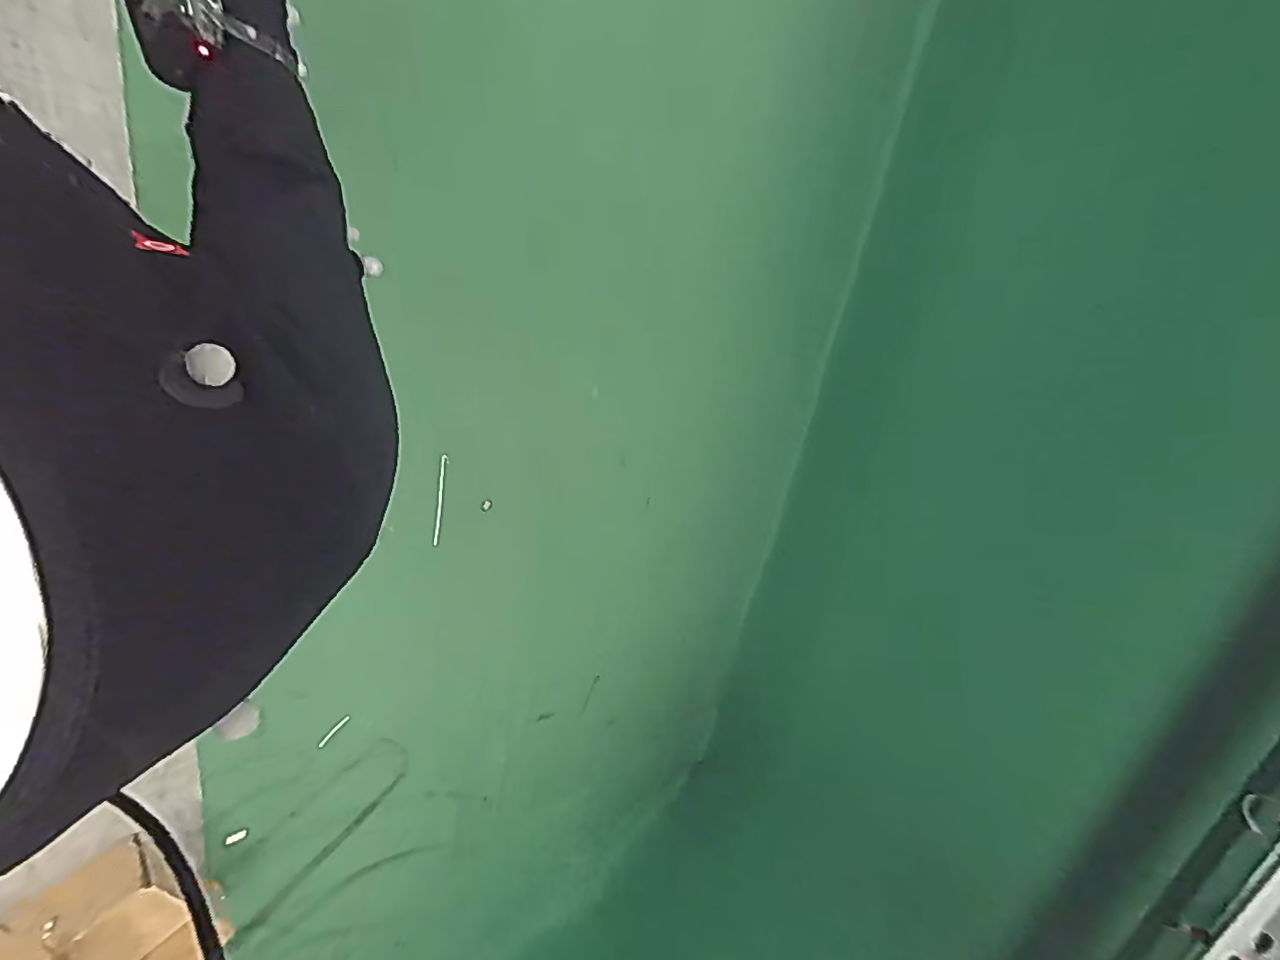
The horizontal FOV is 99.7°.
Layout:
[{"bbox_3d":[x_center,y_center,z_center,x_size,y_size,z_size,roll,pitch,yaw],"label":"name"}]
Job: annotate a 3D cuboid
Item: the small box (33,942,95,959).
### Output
[{"bbox_3d":[-1.432,1.268,1.293,0.168,0.176,0.179,-29,133,-38],"label":"small box"}]
